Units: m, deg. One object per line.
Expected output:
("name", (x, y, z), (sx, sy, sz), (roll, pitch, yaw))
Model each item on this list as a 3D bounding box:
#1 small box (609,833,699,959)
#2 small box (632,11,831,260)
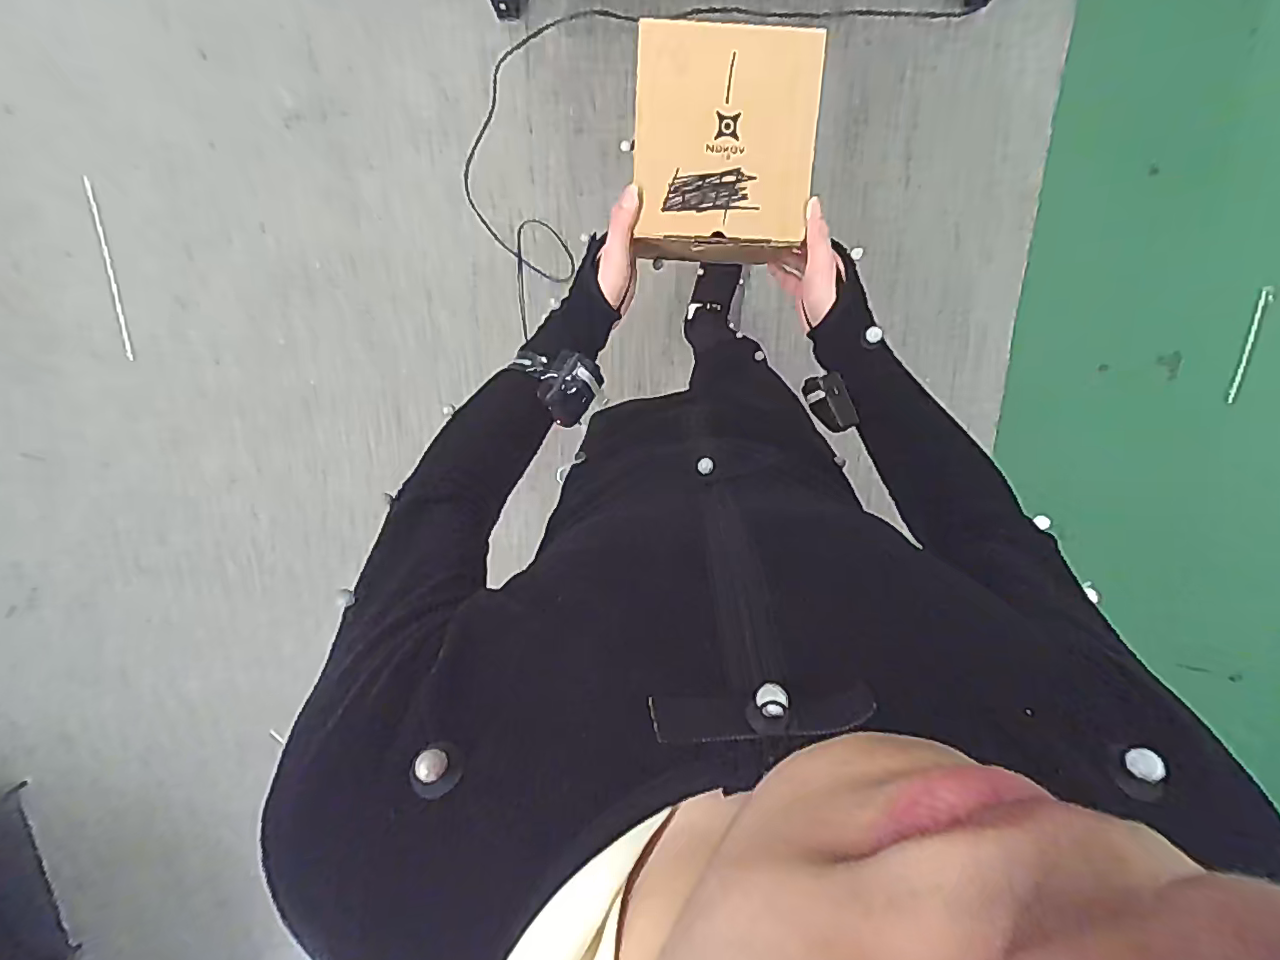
("small box", (0.029, 0.911, 1.182), (0.179, 0.176, 0.168), (4, 103, 1))
("small box", (0.078, -0.332, 0.560), (0.168, 0.176, 0.179), (2, 105, -2))
